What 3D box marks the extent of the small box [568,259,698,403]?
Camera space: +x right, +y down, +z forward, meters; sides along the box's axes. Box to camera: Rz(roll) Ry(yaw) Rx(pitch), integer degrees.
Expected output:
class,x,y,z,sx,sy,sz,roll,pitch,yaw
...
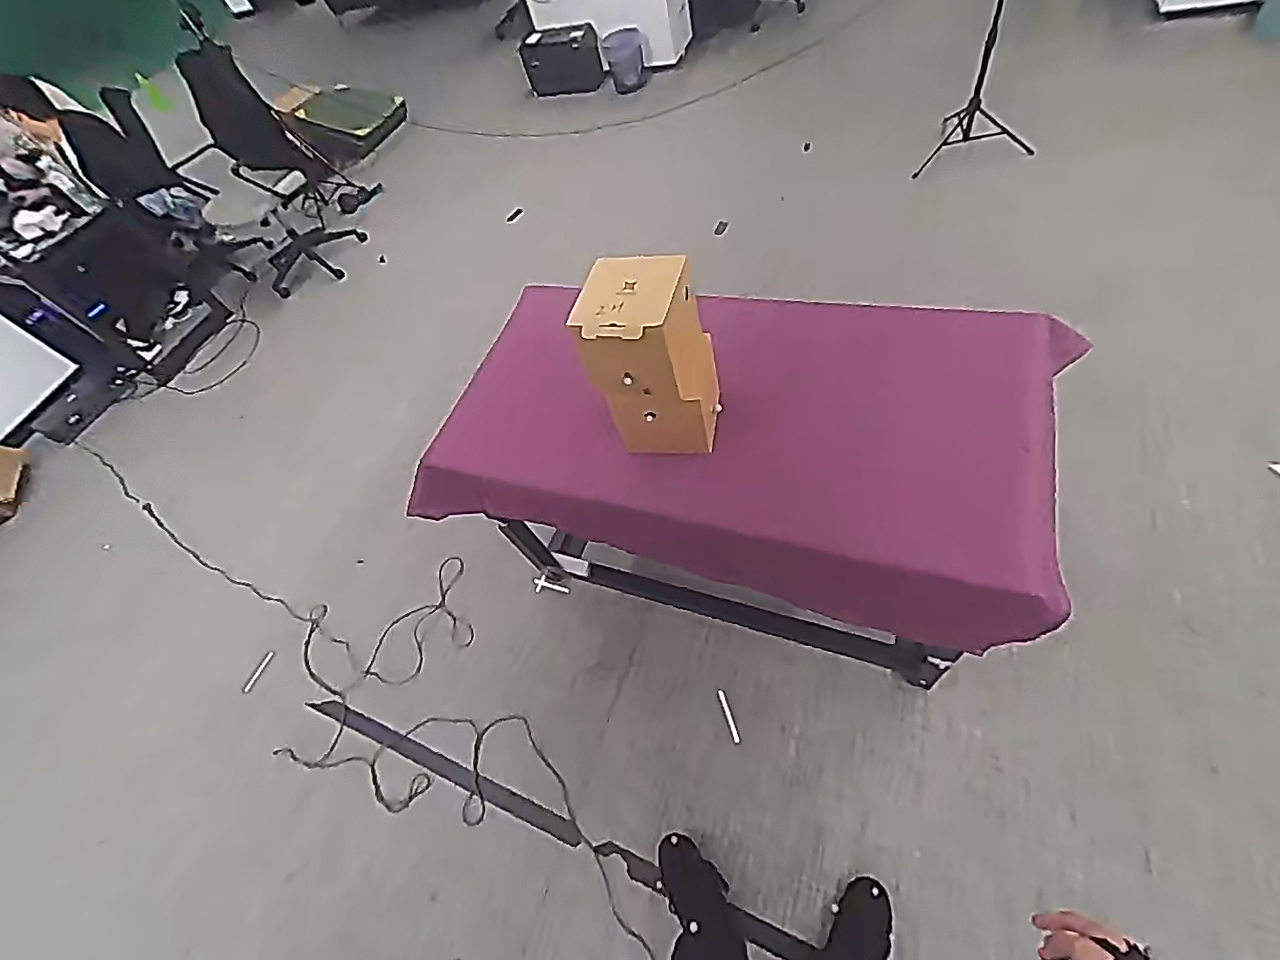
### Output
class,x,y,z,sx,sy,sz,roll,pitch,yaw
small box,-0.001,-0.259,0.943,0.168,0.176,0.179,6,60,20

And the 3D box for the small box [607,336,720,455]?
class,x,y,z,sx,sy,sz,roll,pitch,yaw
small box,0.054,-0.161,1.066,0.179,0.176,0.168,2,58,16
